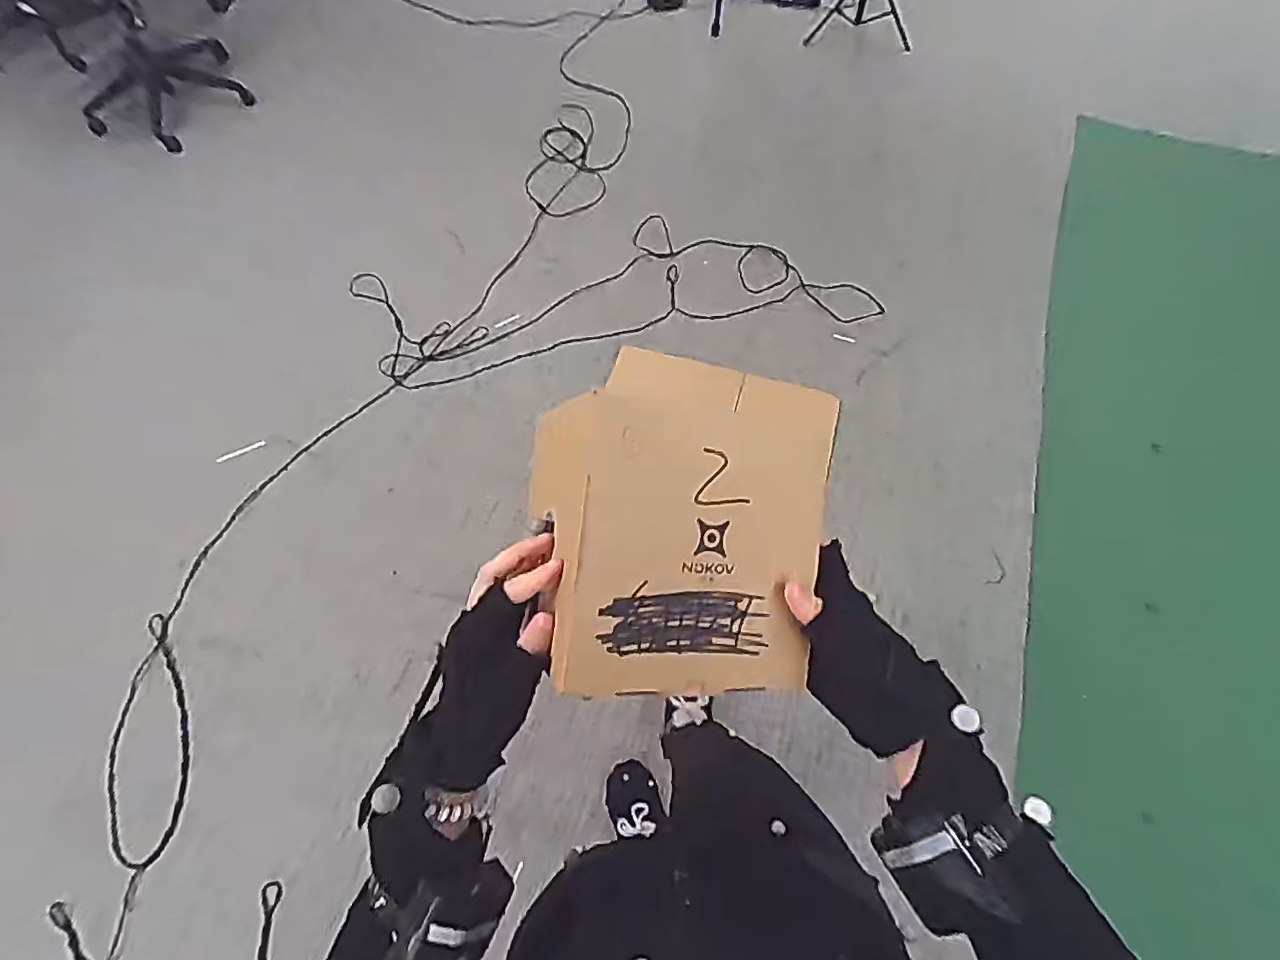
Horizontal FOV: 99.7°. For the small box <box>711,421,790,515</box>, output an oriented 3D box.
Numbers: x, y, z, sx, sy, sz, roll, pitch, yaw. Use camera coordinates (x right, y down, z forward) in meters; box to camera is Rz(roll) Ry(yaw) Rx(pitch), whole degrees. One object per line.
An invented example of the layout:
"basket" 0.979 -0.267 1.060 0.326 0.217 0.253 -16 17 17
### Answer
"small box" 0.289 -0.029 1.449 0.168 0.176 0.179 14 68 9
